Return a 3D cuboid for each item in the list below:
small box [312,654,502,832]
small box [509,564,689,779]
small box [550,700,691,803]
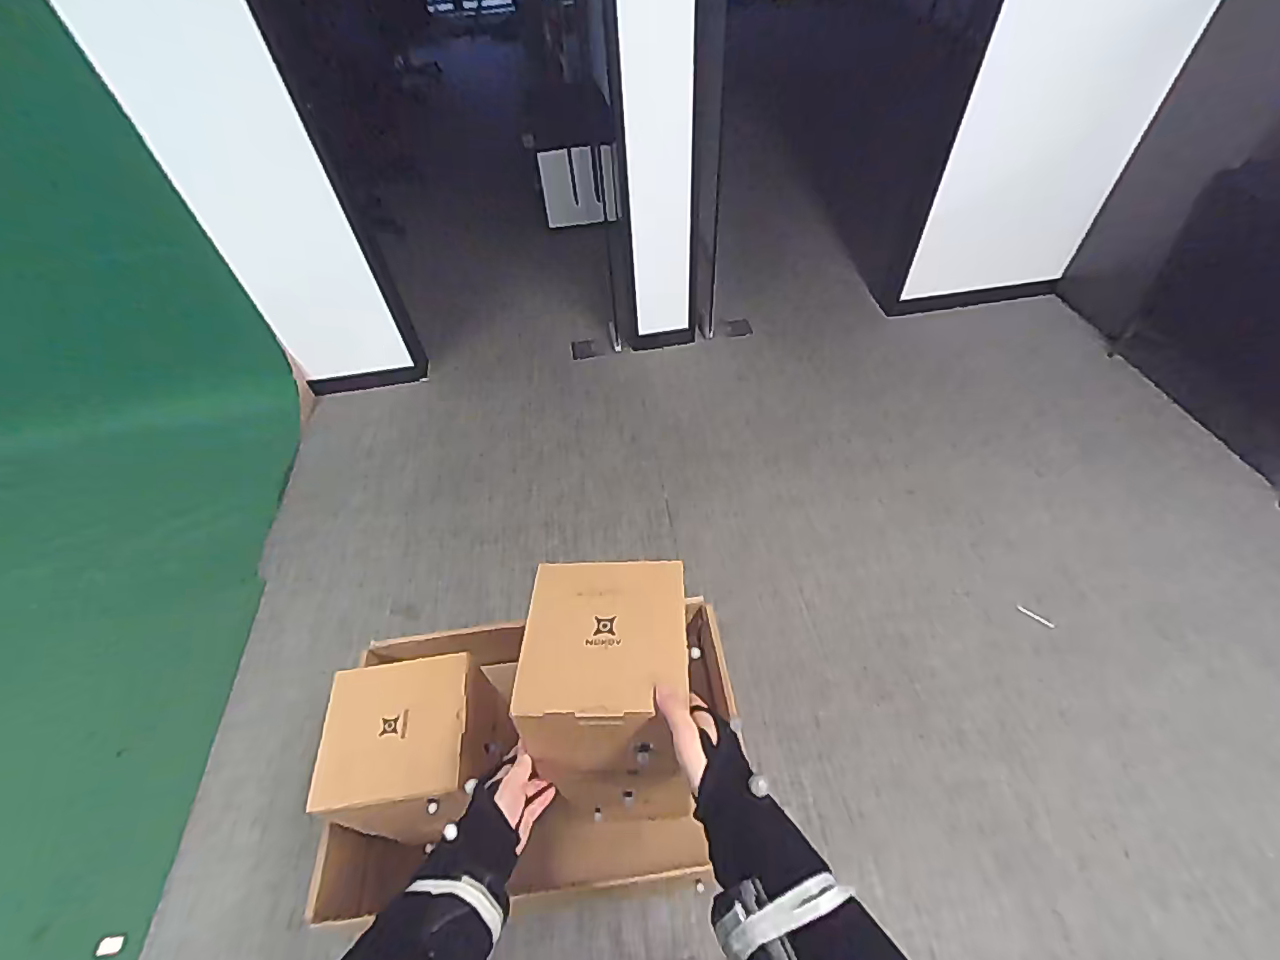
[{"bbox_3d":[-0.297,0.360,0.733,0.179,0.176,0.168,-8,50,-3],"label":"small box"},{"bbox_3d":[-0.031,0.215,0.604,0.168,0.176,0.179,-2,42,4],"label":"small box"},{"bbox_3d":[-0.017,0.329,0.733,0.168,0.176,0.179,-3,50,3],"label":"small box"}]
